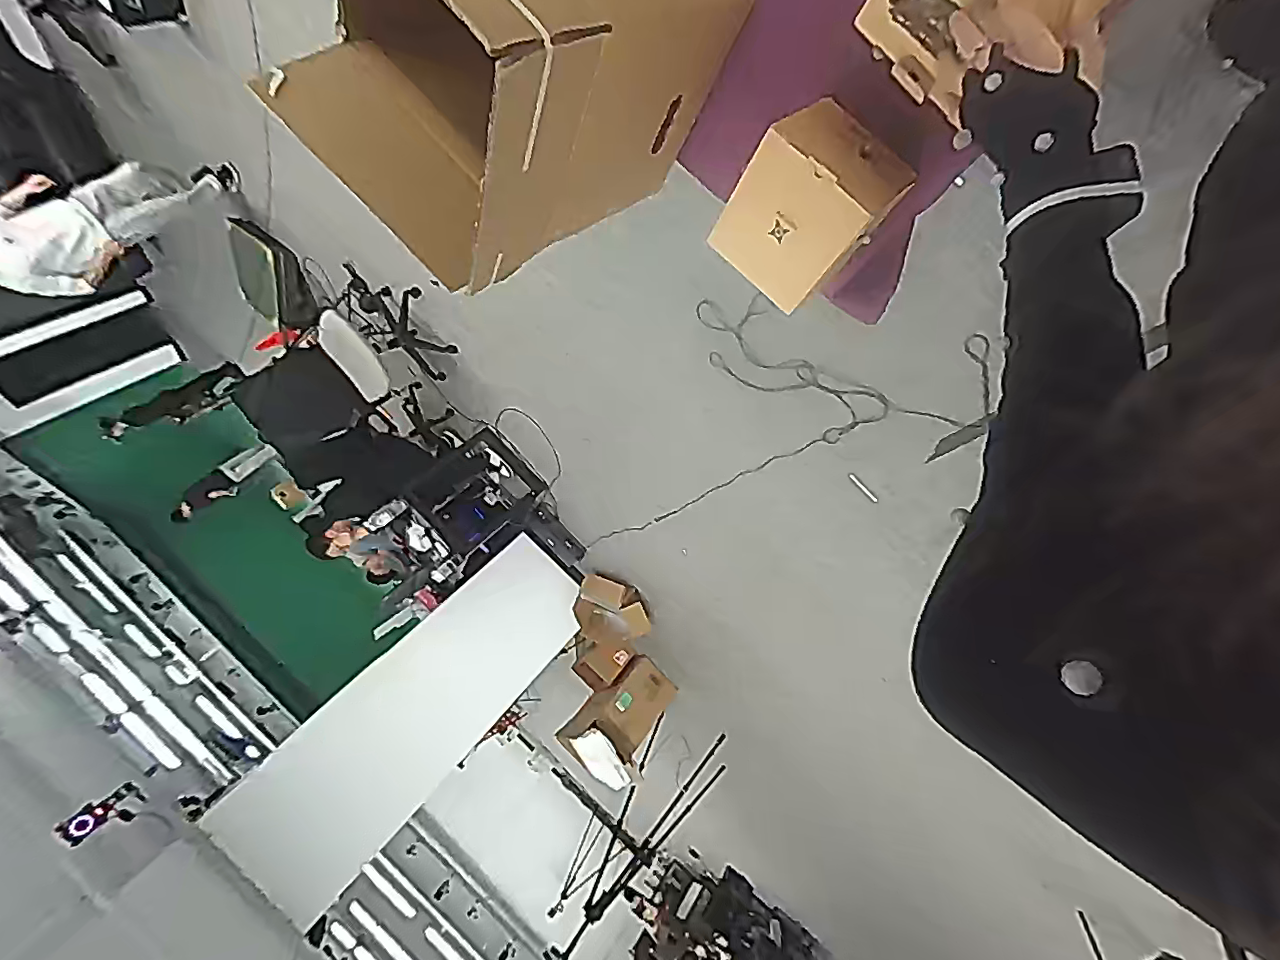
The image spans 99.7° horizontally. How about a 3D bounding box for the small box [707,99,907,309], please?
[{"bbox_3d":[0.231,-0.381,0.749,0.168,0.176,0.179,43,146,3],"label":"small box"}]
